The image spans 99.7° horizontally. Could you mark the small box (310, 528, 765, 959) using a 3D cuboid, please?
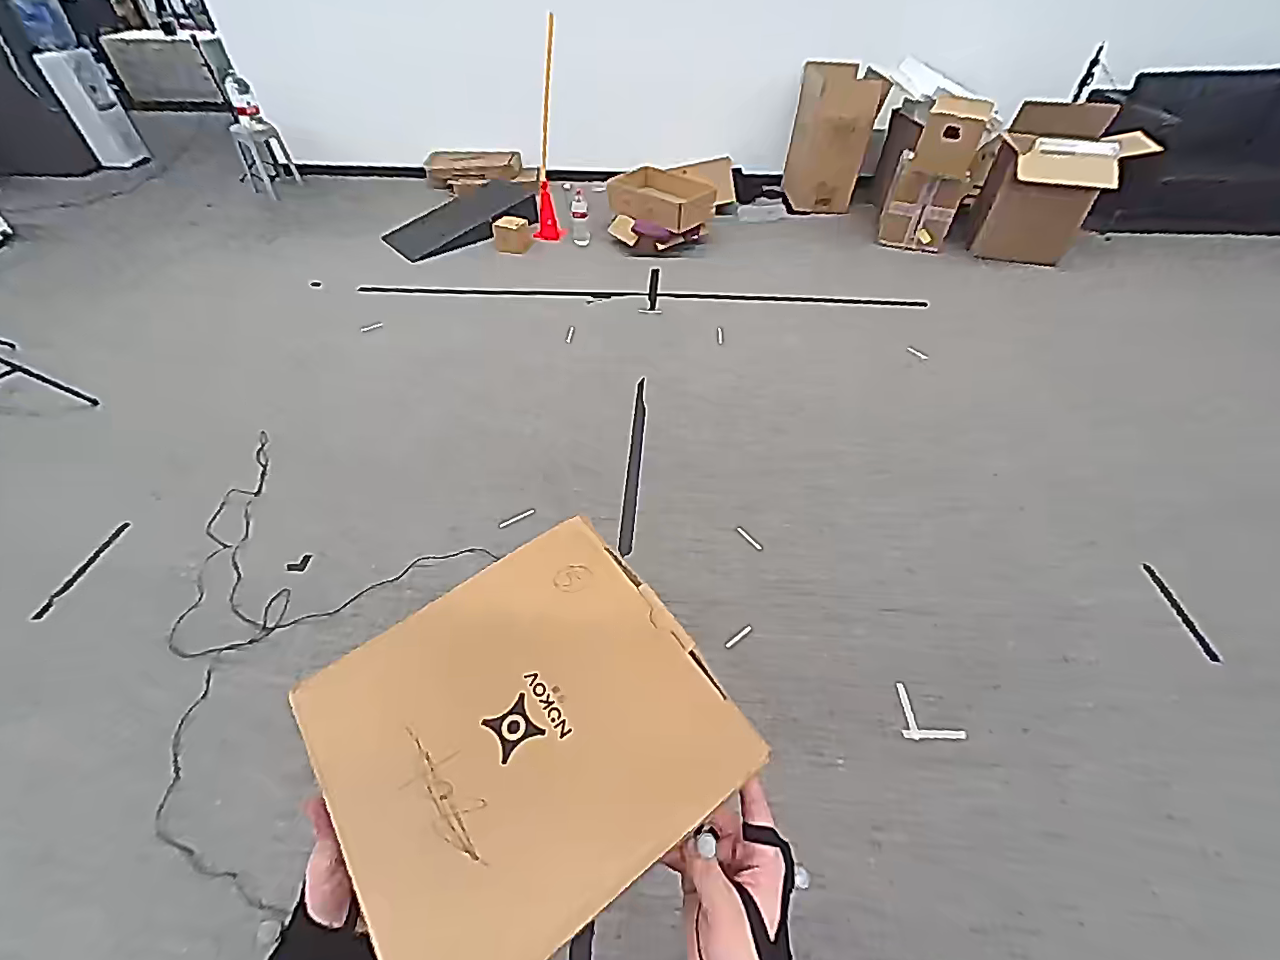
[{"bbox_3d":[-0.053,0.169,0.335,0.179,0.176,0.168,-34,59,-19],"label":"small box"}]
